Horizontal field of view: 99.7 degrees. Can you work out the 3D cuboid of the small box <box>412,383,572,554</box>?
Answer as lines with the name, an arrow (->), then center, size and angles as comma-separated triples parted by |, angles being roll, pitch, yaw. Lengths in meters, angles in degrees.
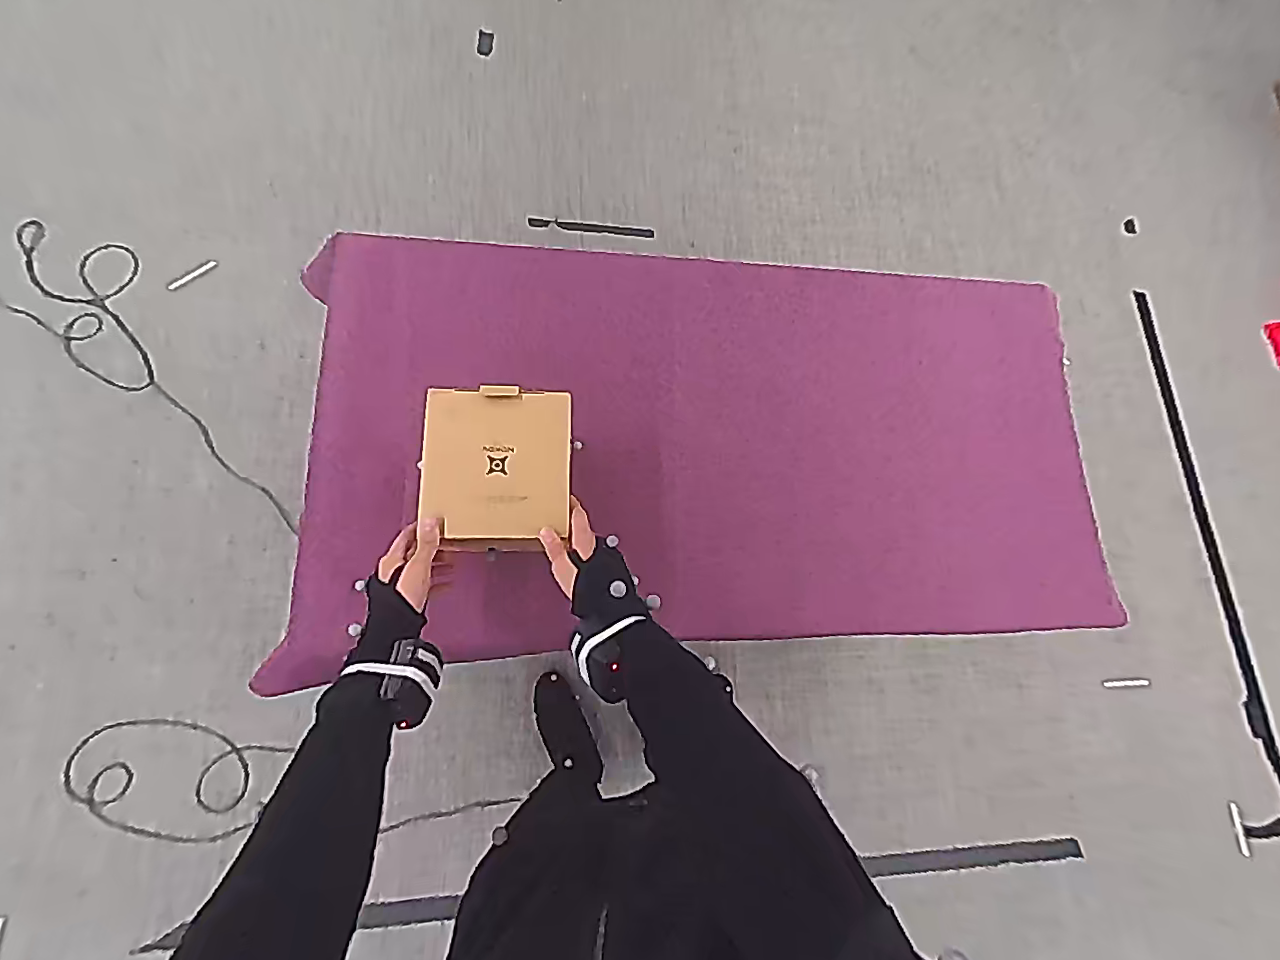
small box -> -0.173, -0.004, 0.680 | 0.168, 0.176, 0.179 | 2, 77, -7
